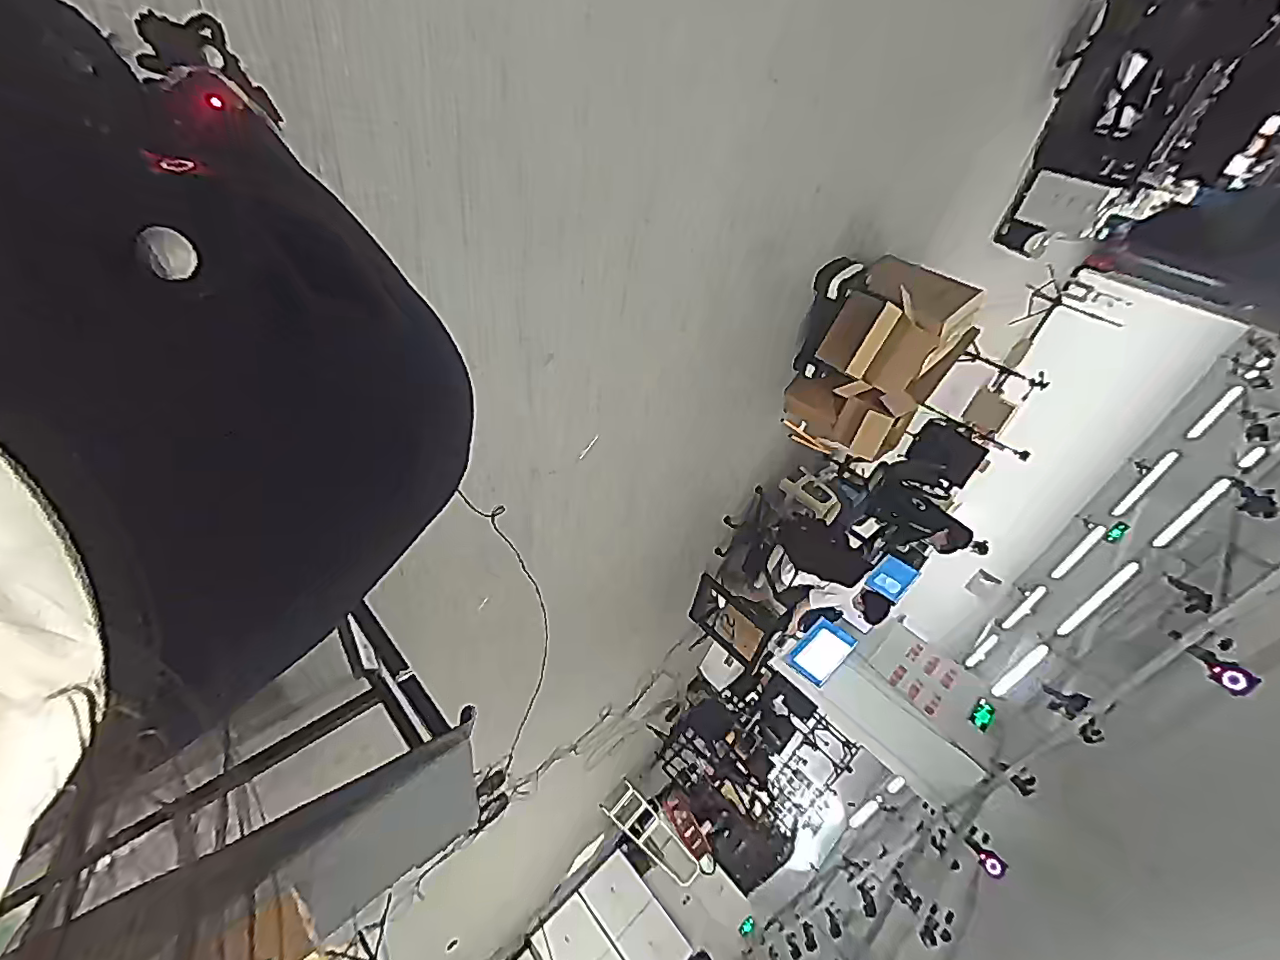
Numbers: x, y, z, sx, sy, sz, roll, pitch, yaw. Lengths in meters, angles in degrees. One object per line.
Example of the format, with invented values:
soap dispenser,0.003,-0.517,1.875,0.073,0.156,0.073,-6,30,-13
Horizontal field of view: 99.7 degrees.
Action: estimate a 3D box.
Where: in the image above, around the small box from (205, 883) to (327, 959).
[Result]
small box,-0.871,1.101,1.266,0.179,0.176,0.168,-26,141,-38
